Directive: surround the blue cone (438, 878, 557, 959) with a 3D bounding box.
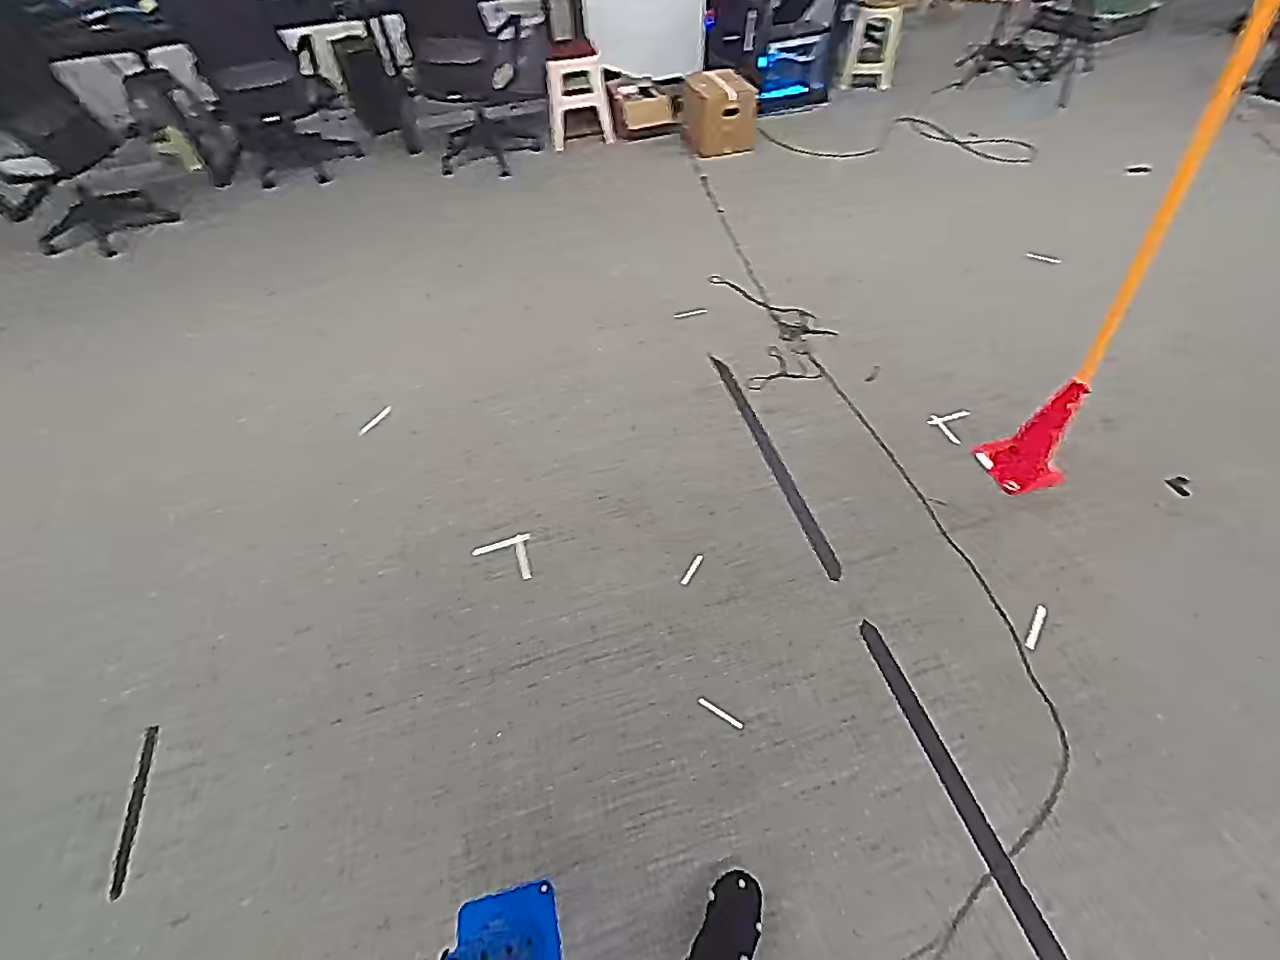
[{"bbox_3d":[-0.271,0.826,0.944,0.193,0.380,0.192,-12,52,-5],"label":"blue cone"}]
